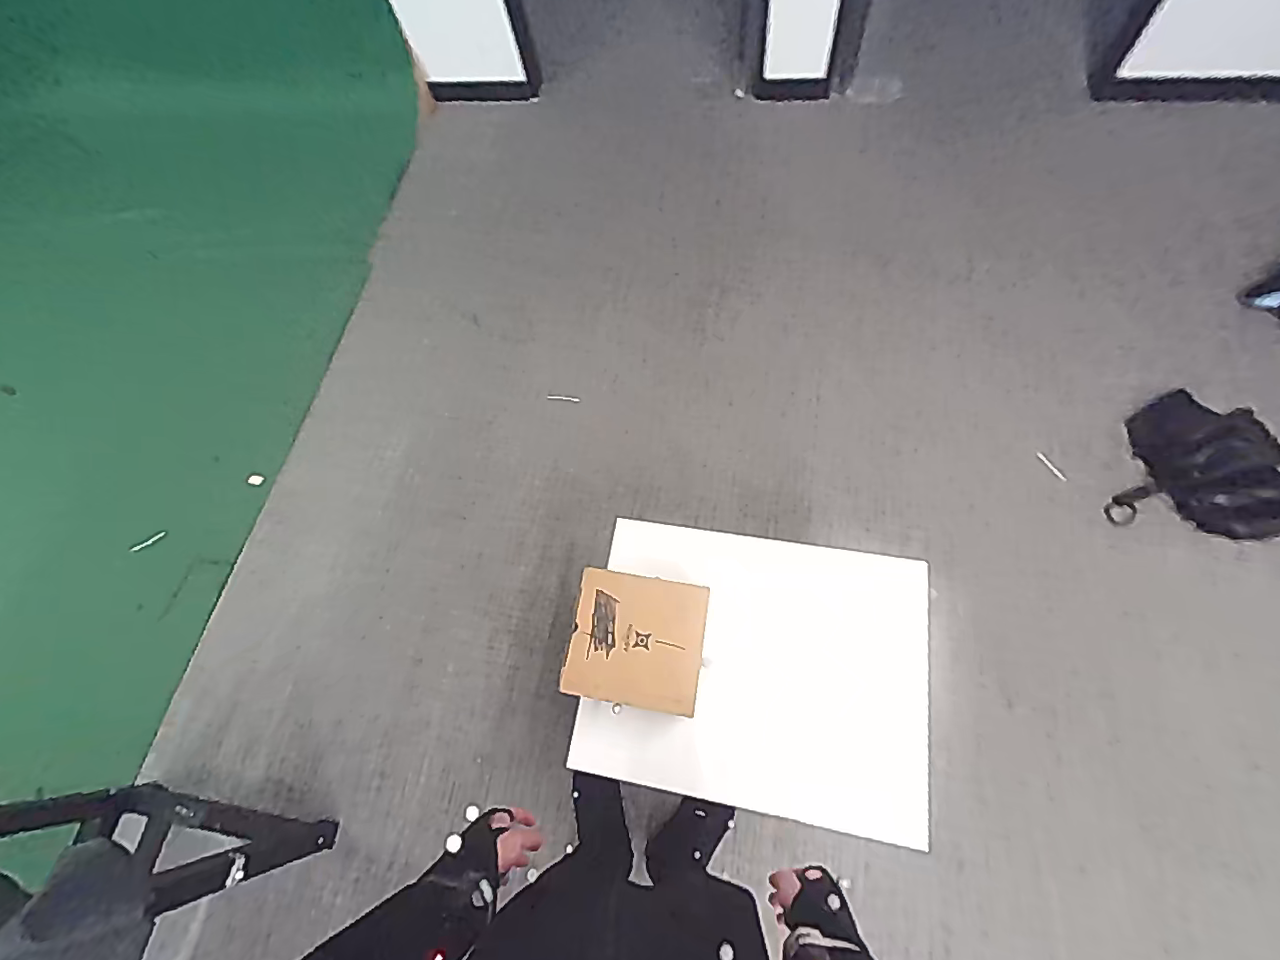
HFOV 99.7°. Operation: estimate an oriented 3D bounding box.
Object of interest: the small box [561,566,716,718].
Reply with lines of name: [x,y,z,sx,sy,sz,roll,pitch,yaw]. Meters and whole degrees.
small box: [0.005,0.233,0.770,0.179,0.176,0.168,9,70,7]
